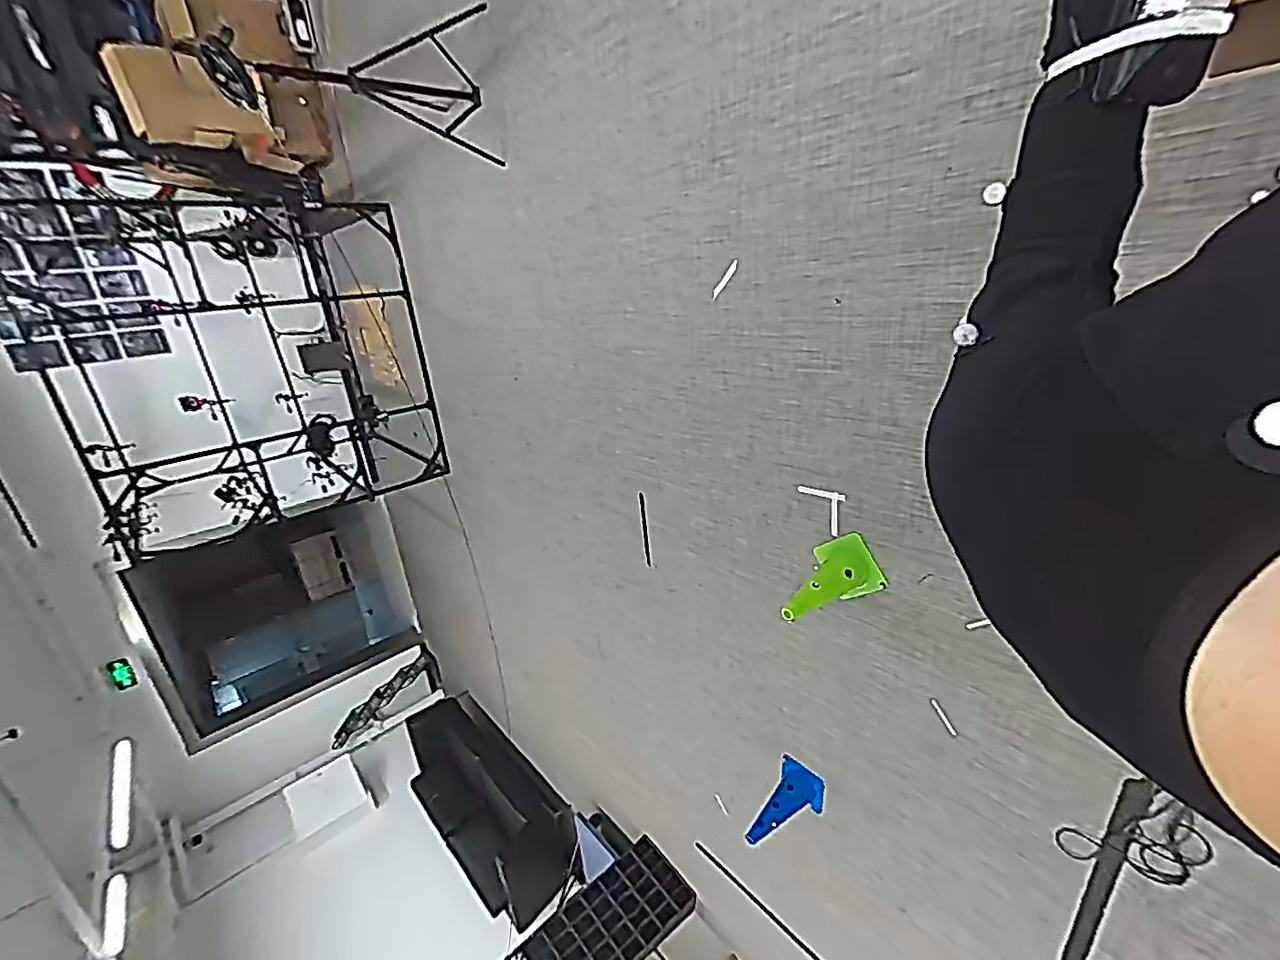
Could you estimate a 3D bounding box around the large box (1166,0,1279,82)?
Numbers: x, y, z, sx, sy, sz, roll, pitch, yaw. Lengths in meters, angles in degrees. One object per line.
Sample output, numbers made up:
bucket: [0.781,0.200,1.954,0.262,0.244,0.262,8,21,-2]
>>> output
large box: [0.560,-0.449,0.251,0.408,0.320,0.320,15,121,45]

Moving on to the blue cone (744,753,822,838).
blue cone: [0.568,1.337,2.221,0.192,0.380,0.193,23,124,45]

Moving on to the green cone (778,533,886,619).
green cone: [0.562,0.335,1.696,0.200,0.368,0.202,62,145,9]
